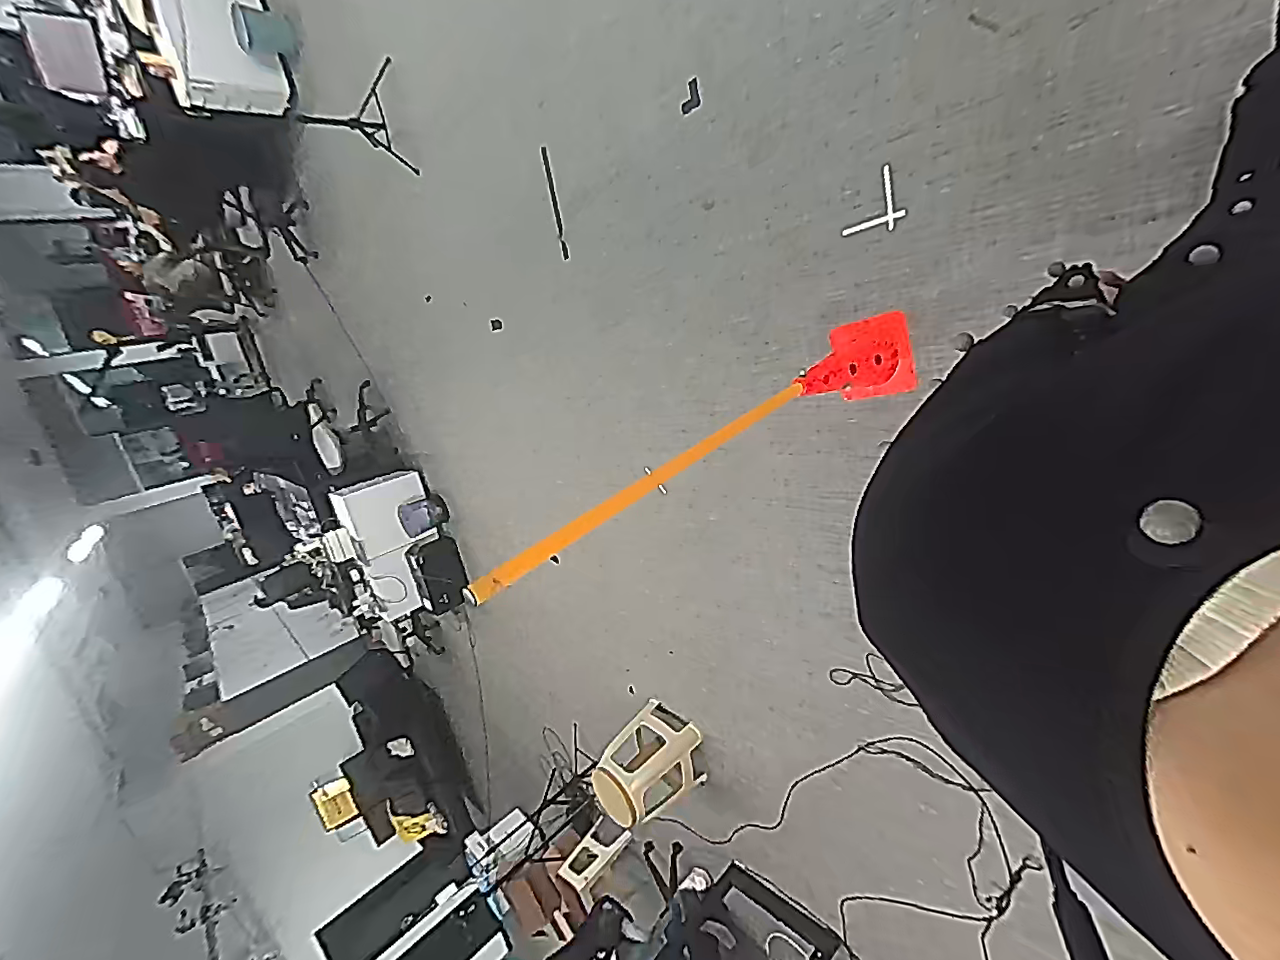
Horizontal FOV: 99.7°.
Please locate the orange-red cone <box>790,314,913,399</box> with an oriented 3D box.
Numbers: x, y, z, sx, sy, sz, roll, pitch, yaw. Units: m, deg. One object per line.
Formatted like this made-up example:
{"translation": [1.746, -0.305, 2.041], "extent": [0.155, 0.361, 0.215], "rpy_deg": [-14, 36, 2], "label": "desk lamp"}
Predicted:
{"translation": [0.465, -0.253, 1.275], "extent": [0.199, 0.360, 0.198], "rpy_deg": [-3, 107, 49], "label": "orange-red cone"}
